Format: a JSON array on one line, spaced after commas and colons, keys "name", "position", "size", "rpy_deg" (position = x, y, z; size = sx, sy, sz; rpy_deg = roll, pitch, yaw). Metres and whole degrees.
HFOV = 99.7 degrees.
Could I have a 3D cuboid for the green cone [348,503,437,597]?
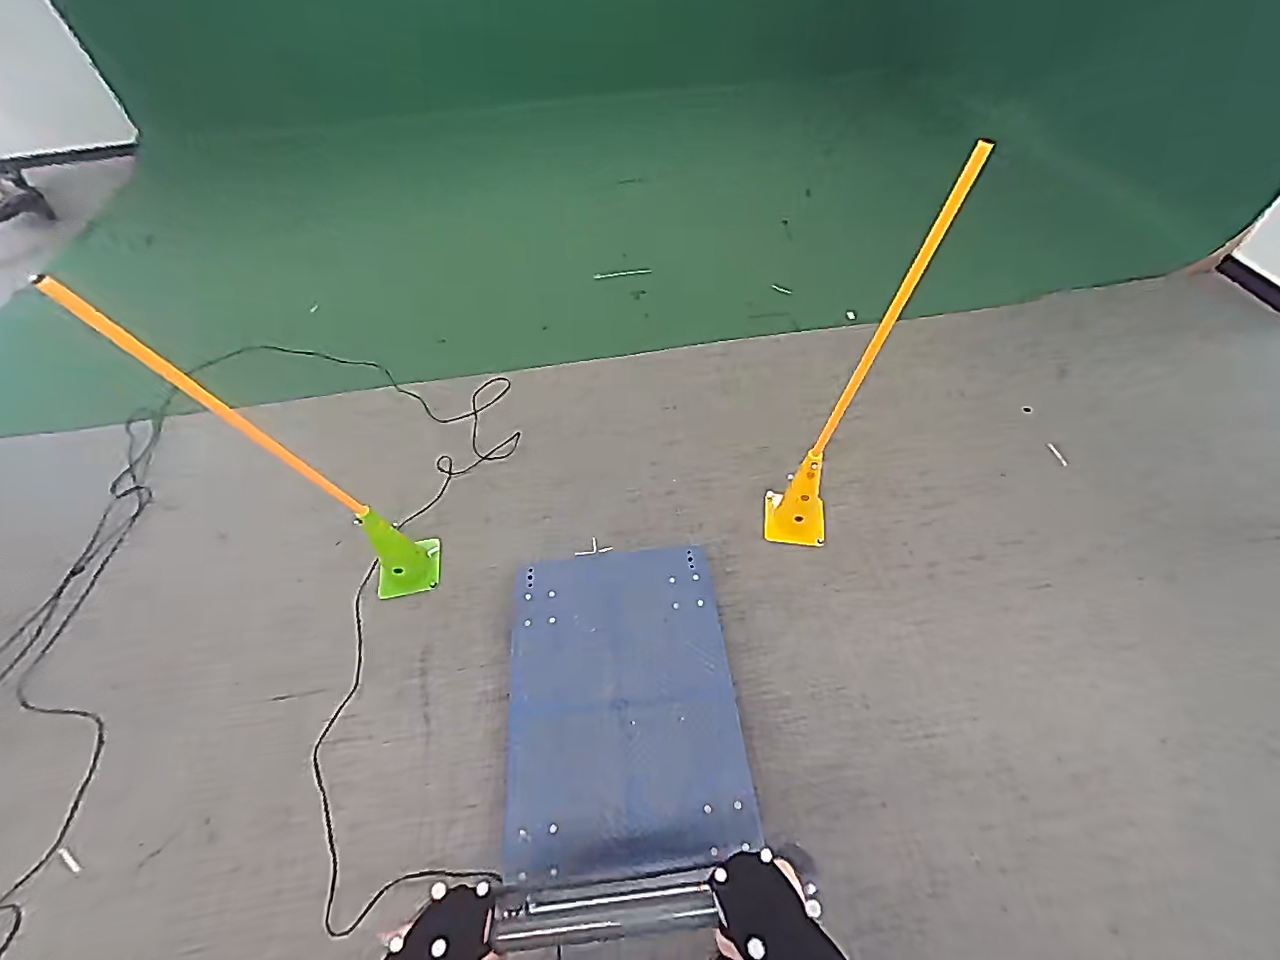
[{"name": "green cone", "position": [-0.799, 0.185, 1.691], "size": [0.202, 0.368, 0.200], "rpy_deg": [-12, 53, -4]}]
